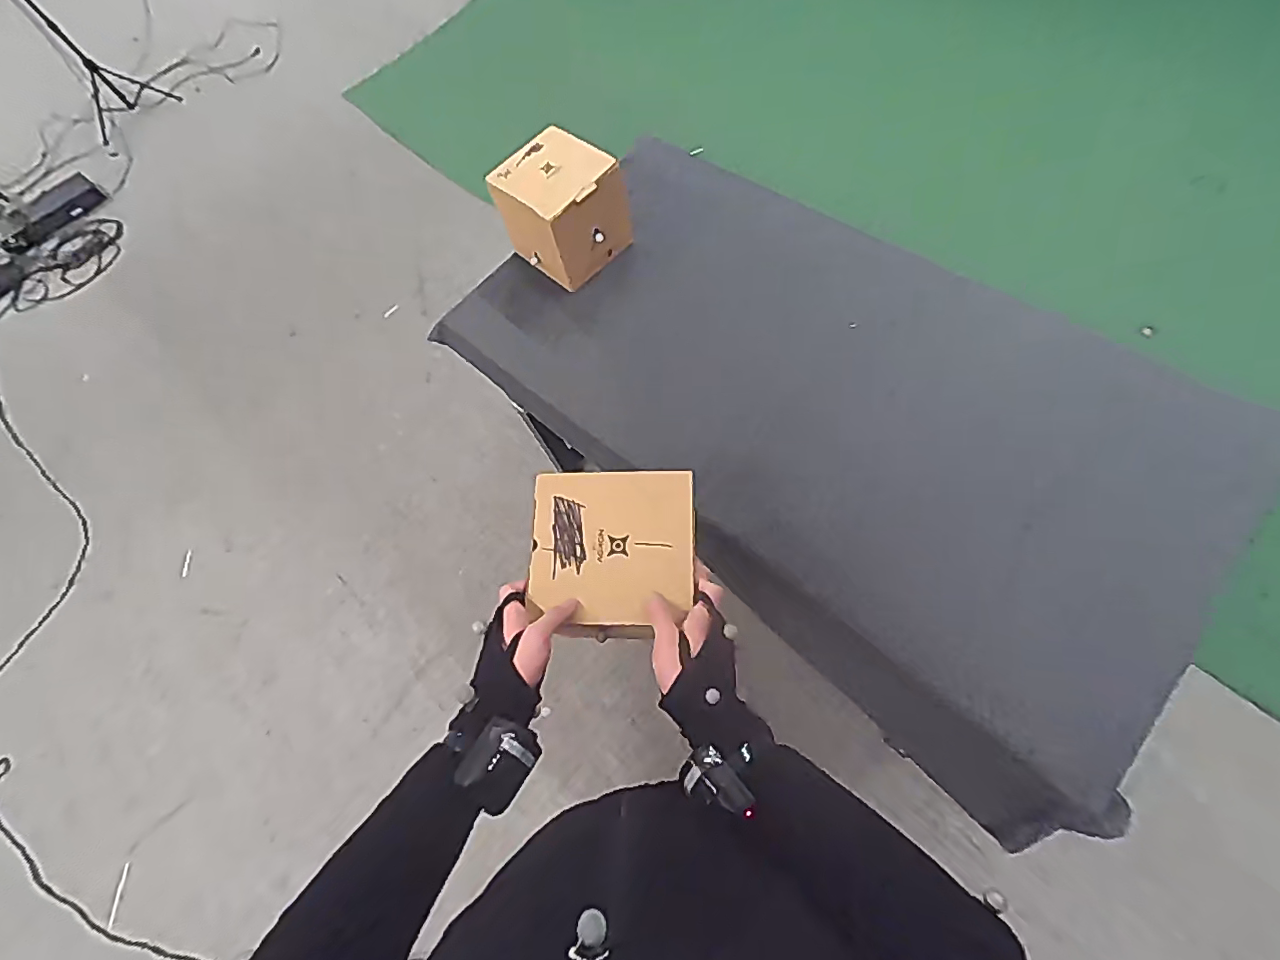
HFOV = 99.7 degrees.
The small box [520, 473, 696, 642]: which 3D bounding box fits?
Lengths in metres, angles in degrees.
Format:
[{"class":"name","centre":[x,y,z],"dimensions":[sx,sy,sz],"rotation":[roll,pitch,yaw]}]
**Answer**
[{"class":"small box","centre":[-0.024,0.098,0.635],"dimensions":[0.179,0.176,0.168],"rotation":[-1,69,5]}]

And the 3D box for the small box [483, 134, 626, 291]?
[{"class":"small box","centre":[-0.146,-0.479,0.990],"dimensions":[0.179,0.176,0.168],"rotation":[40,77,21]}]
